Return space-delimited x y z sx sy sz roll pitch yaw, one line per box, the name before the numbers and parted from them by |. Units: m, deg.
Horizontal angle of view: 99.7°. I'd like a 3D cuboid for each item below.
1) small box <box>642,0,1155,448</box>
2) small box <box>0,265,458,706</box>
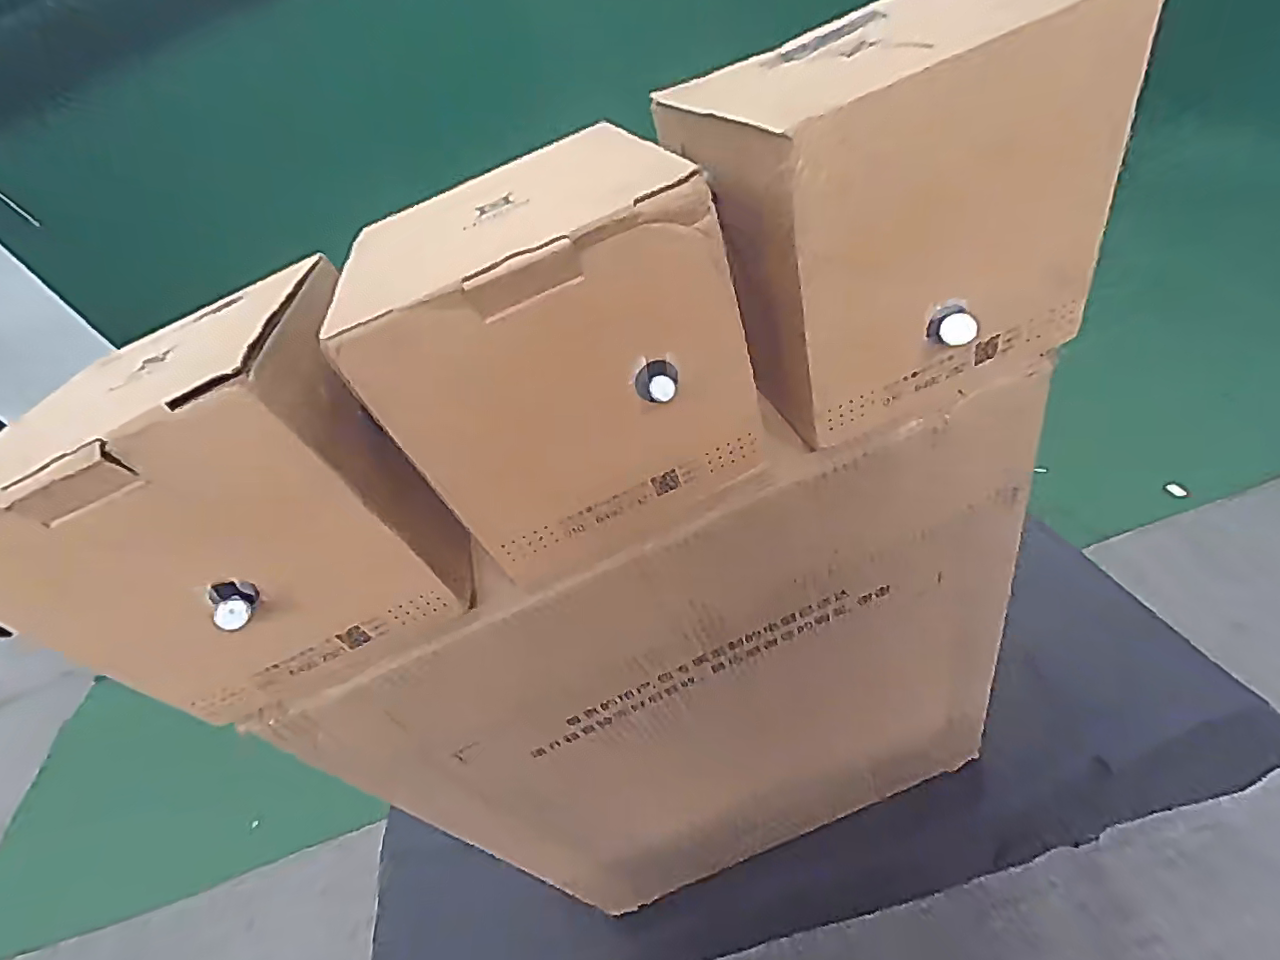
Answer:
small box | 0.119 -0.149 0.313 0.168 0.176 0.179 -24 41 1
small box | -0.225 0.009 0.323 0.168 0.176 0.179 -25 41 2
